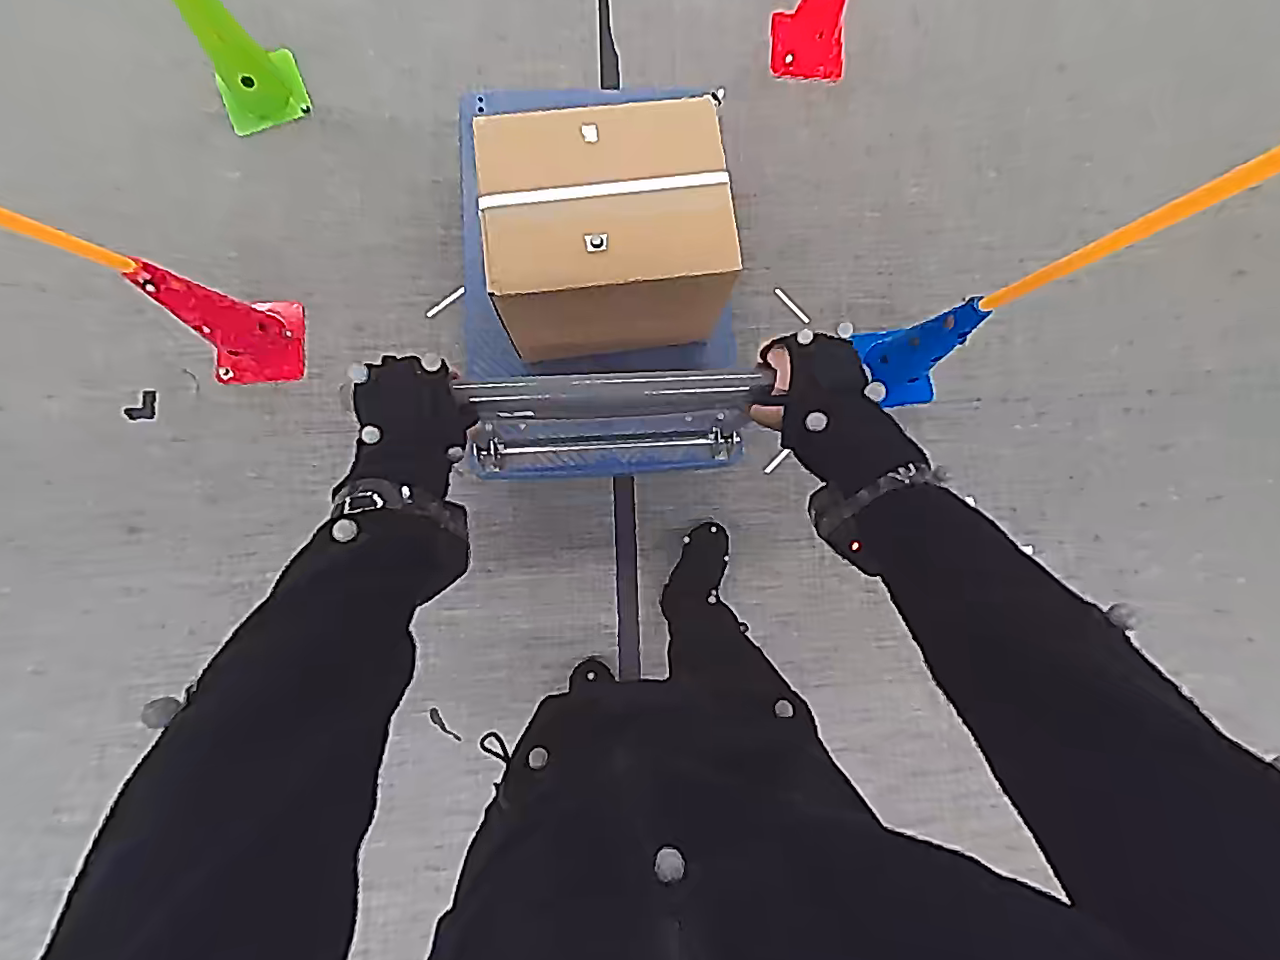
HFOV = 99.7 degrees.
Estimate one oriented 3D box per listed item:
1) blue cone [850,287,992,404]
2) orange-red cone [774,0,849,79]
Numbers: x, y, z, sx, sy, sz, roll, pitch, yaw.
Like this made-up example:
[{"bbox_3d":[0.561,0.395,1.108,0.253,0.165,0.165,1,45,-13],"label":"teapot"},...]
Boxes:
[{"bbox_3d":[0.644,-0.313,1.204,0.193,0.380,0.192,-6,82,-4],"label":"blue cone"},{"bbox_3d":[0.475,-1.203,1.295,0.199,0.360,0.198,4,83,-3],"label":"orange-red cone"}]
